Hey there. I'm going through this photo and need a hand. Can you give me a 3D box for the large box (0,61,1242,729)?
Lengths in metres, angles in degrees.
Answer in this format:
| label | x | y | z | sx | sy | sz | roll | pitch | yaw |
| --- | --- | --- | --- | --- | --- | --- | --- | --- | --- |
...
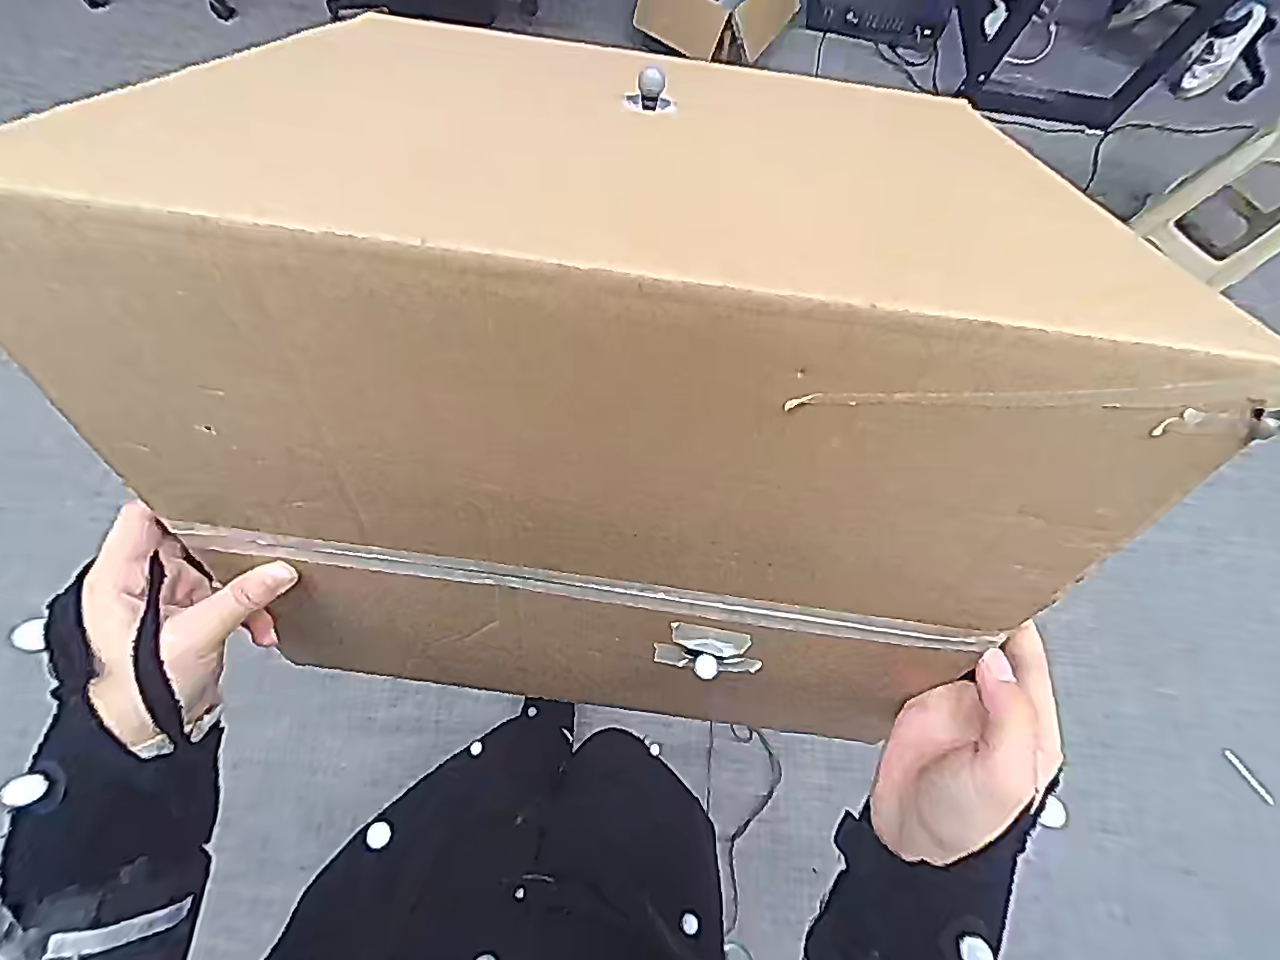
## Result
| label | x | y | z | sx | sy | sz | roll | pitch | yaw |
| --- | --- | --- | --- | --- | --- | --- | --- | --- | --- |
| large box | -0.013 | -0.059 | 0.374 | 0.408 | 0.320 | 0.320 | 7 | 48 | 0 |
